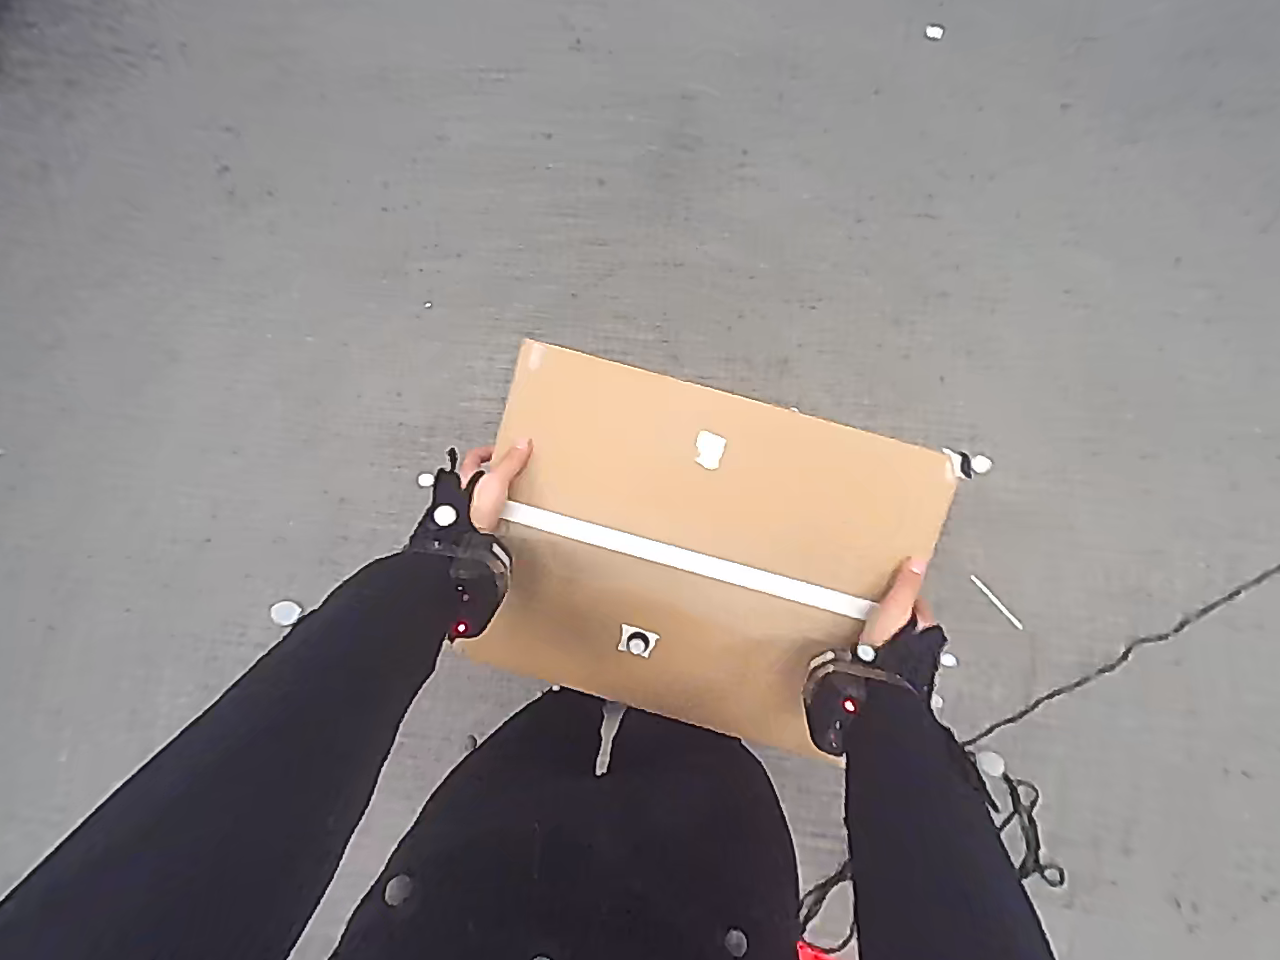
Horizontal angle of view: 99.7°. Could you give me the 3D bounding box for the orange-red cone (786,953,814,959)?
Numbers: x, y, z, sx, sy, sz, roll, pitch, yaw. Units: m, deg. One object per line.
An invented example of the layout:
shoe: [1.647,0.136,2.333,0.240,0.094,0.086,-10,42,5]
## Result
orange-red cone: [0.323,1.016,0.862,0.199,0.360,0.198,25,86,6]
